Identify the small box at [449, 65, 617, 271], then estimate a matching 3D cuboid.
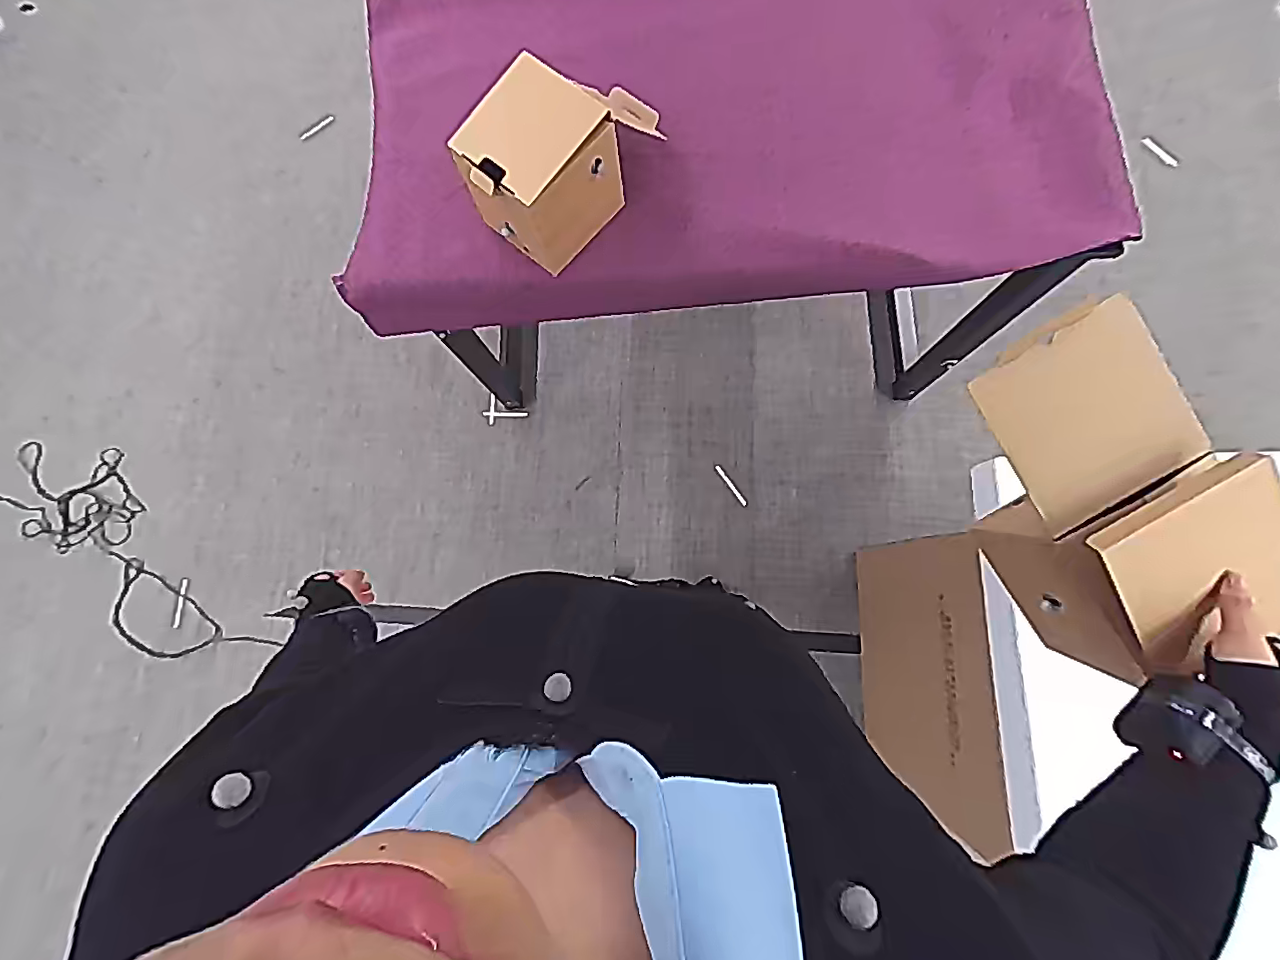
[{"bbox_3d":[-0.149,-0.466,0.829,0.168,0.176,0.179,40,83,11],"label":"small box"}]
